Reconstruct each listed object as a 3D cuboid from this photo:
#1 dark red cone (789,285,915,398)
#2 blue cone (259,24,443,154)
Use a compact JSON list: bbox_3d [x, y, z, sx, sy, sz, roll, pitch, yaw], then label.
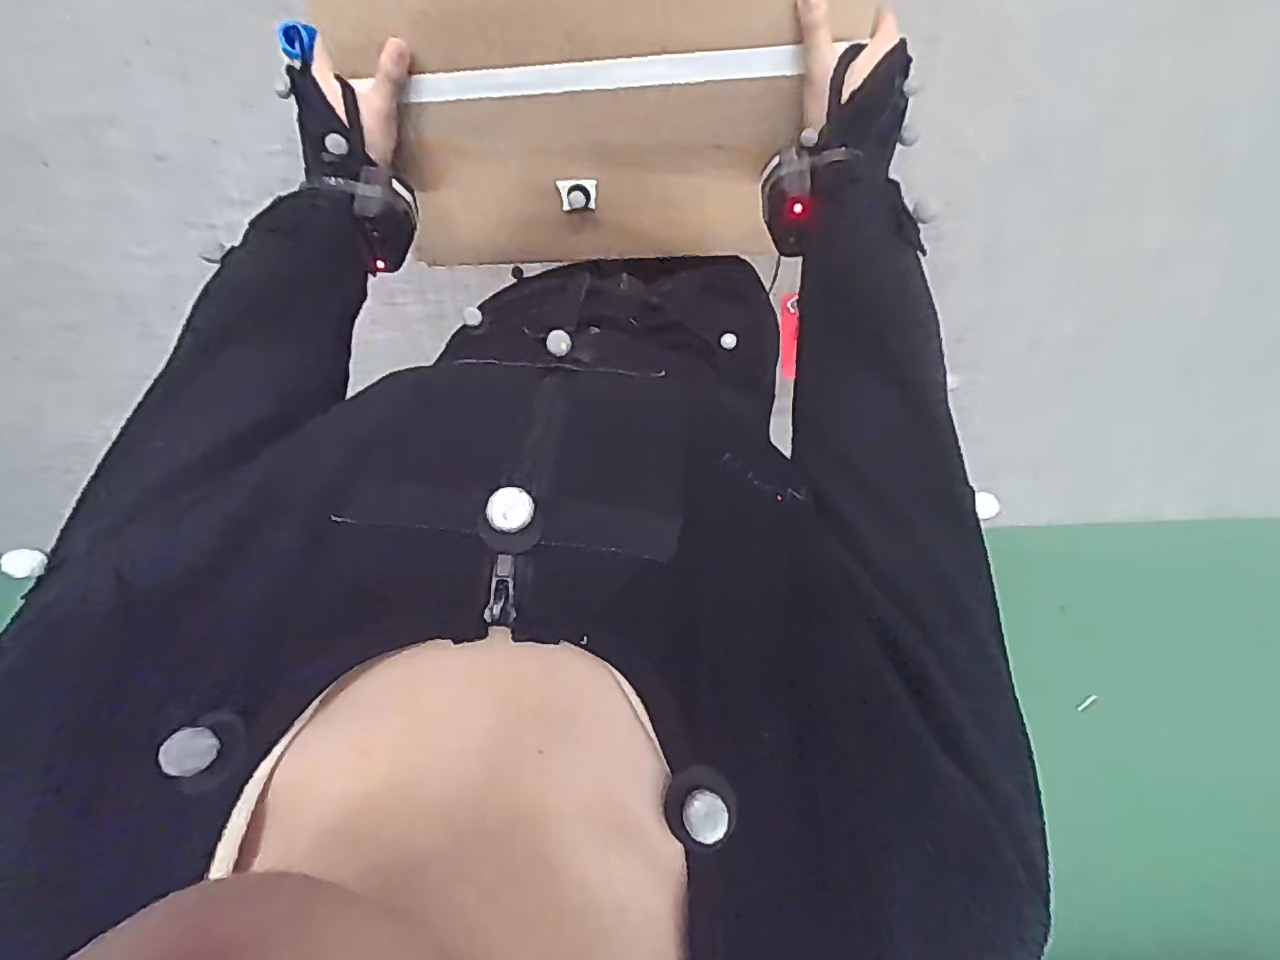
[{"bbox_3d":[0.432,-0.244,1.063,0.202,0.394,0.201,-8,117,5],"label":"dark red cone"},{"bbox_3d":[-0.495,-0.690,0.917,0.192,0.380,0.193,-1,115,2],"label":"blue cone"}]
